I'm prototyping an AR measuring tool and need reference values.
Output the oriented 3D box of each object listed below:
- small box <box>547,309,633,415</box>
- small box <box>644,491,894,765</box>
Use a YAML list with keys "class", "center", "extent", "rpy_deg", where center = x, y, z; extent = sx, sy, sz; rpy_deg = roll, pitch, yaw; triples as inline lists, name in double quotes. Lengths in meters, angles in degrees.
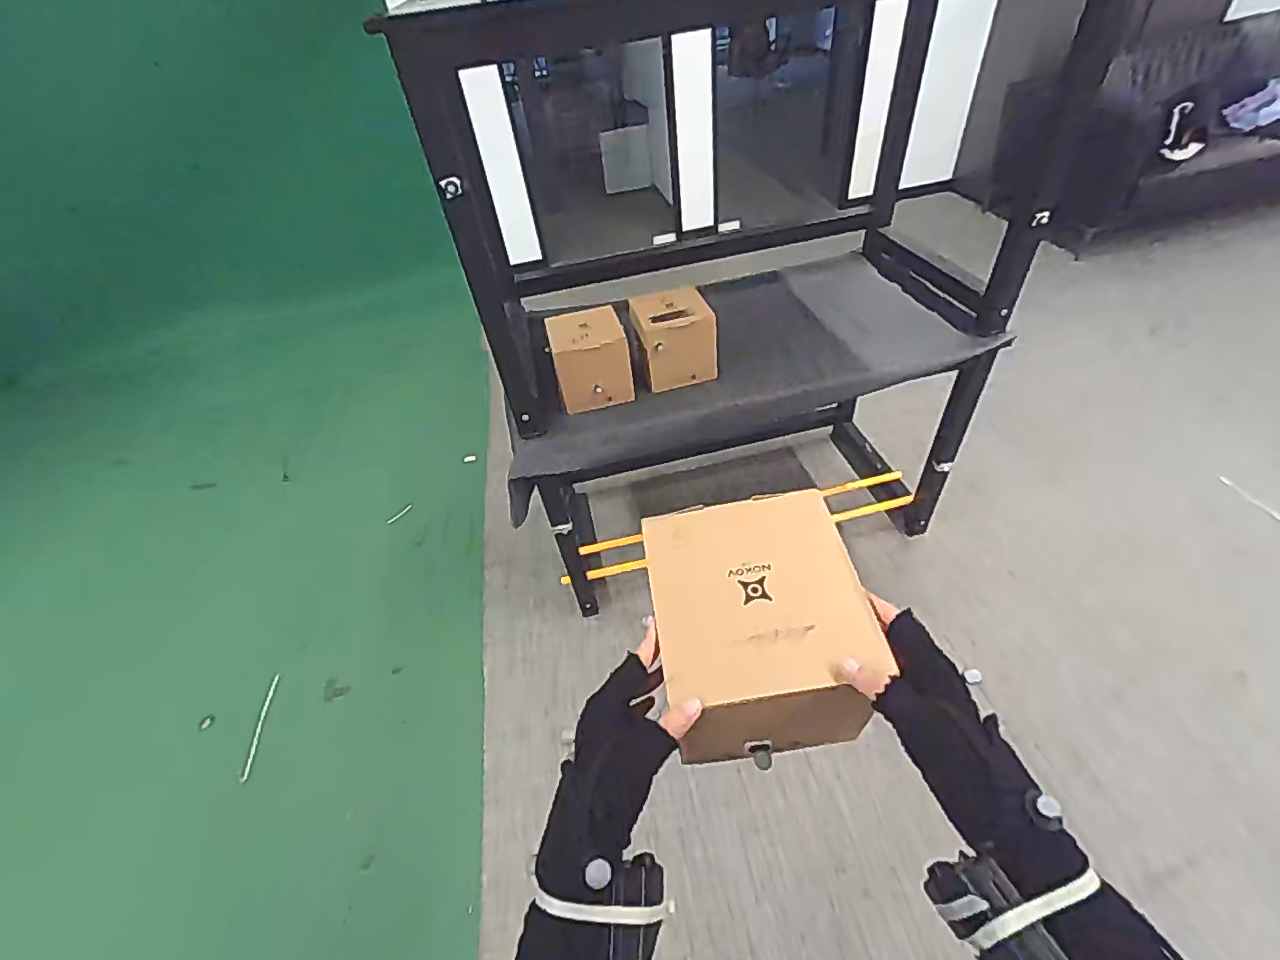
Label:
- class: "small box"
  center: [-0.118, -0.280, 1.284]
  extent: [0.168, 0.176, 0.179]
  rpy_deg: [-14, 44, -6]
- class: "small box"
  center: [0.099, 0.137, 0.496]
  extent: [0.168, 0.176, 0.179]
  rpy_deg: [-9, 49, 1]
